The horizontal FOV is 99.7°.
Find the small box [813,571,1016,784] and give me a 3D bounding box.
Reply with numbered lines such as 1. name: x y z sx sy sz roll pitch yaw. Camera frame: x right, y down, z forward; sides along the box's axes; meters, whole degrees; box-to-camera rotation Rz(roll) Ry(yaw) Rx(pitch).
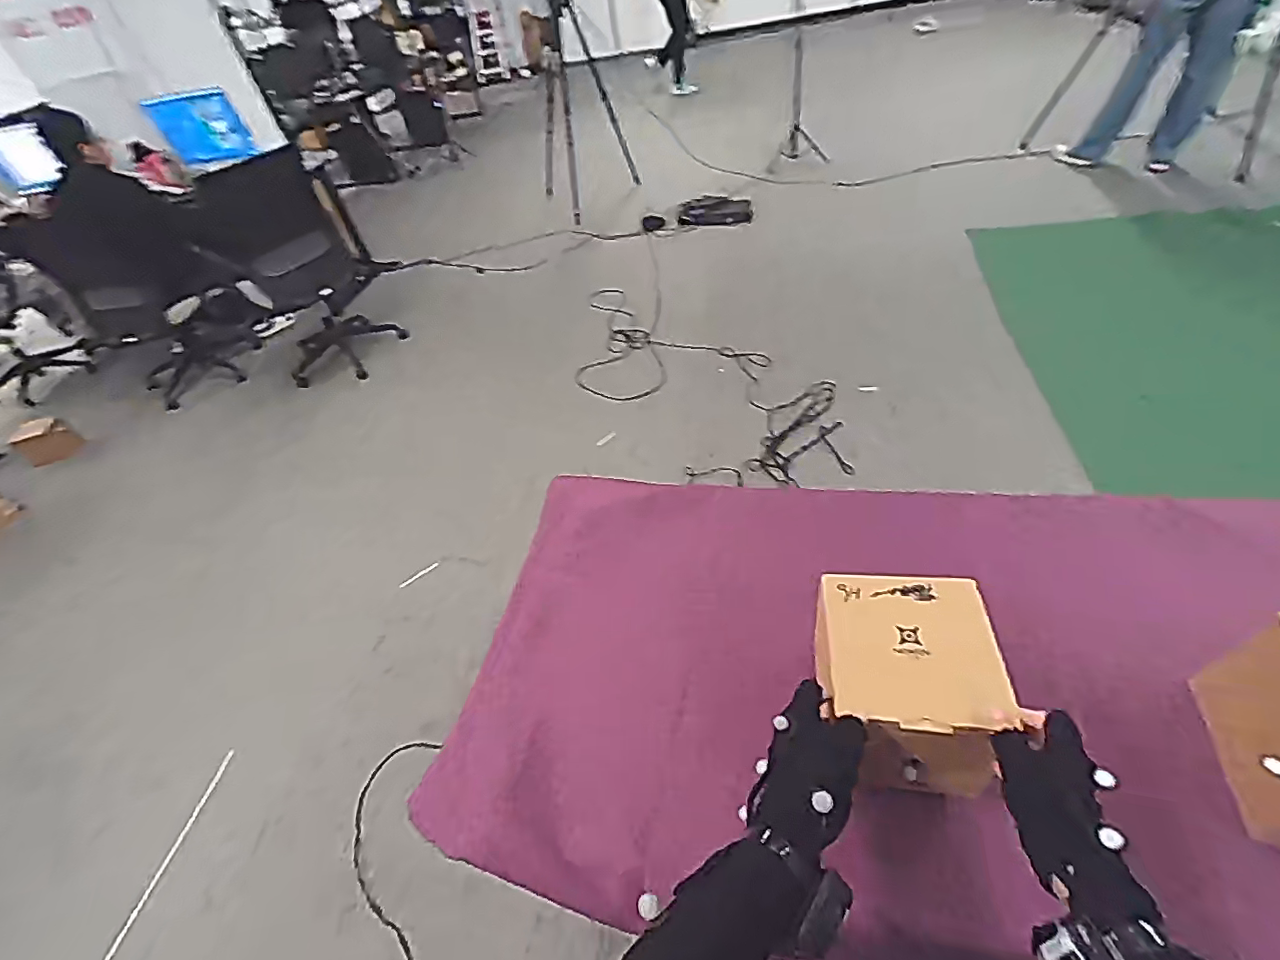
1. small box: 0.292 0.226 0.621 0.168 0.176 0.179 0 45 13
